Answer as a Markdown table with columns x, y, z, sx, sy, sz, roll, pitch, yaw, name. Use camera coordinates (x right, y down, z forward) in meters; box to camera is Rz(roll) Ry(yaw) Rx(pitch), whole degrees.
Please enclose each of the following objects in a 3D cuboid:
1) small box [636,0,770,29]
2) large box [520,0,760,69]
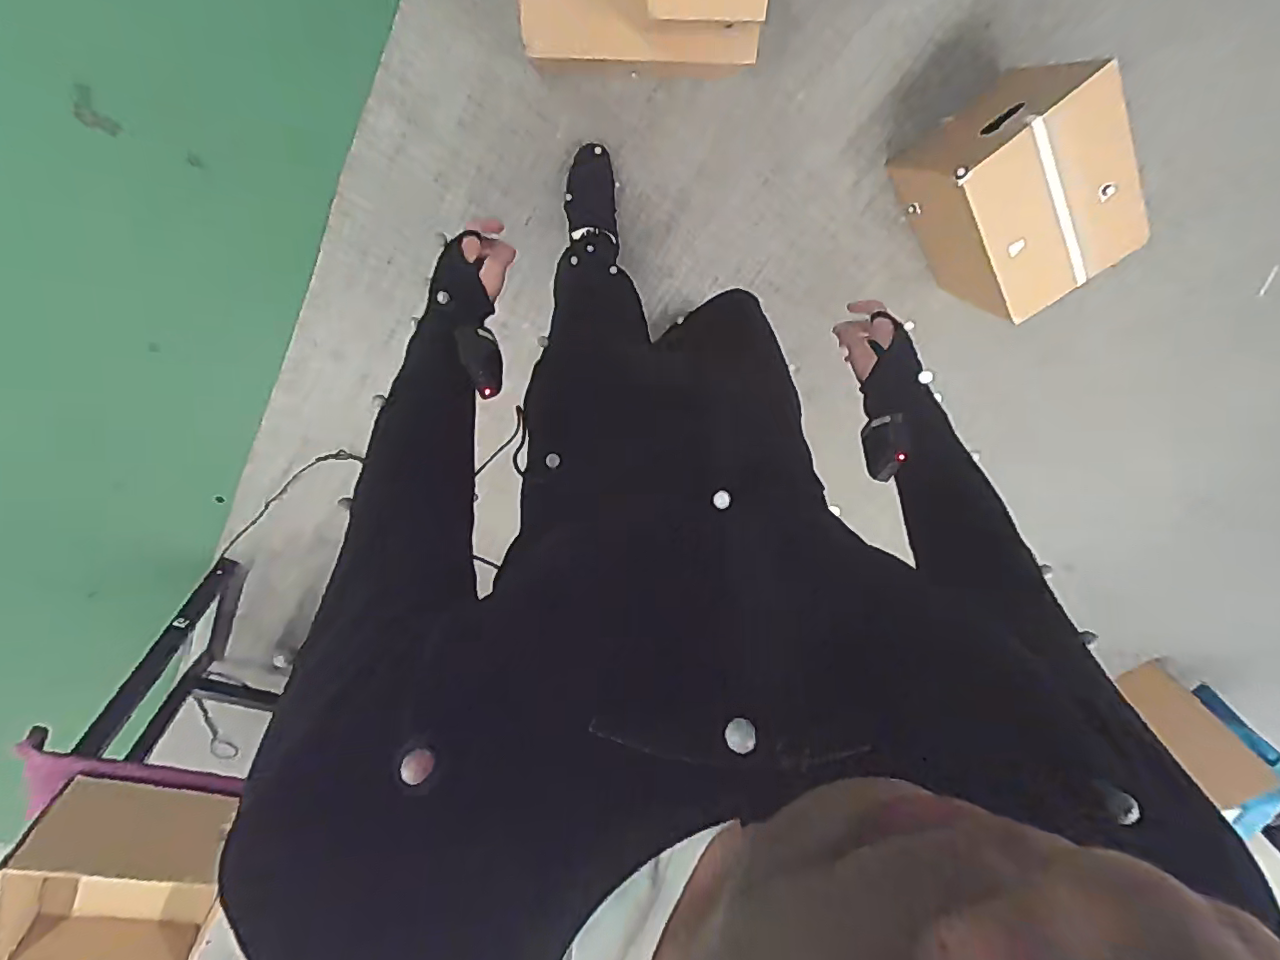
| x | y | z | sx | sy | sz | roll | pitch | yaw | name |
| --- | --- | --- | --- | --- | --- | --- | --- | --- | --- |
| 0.090 | -0.769 | 0.780 | 0.179 | 0.176 | 0.168 | -3 | 125 | -5 | small box |
| -0.007 | -0.930 | 0.960 | 0.408 | 0.320 | 0.320 | -2 | 123 | -4 | large box |
